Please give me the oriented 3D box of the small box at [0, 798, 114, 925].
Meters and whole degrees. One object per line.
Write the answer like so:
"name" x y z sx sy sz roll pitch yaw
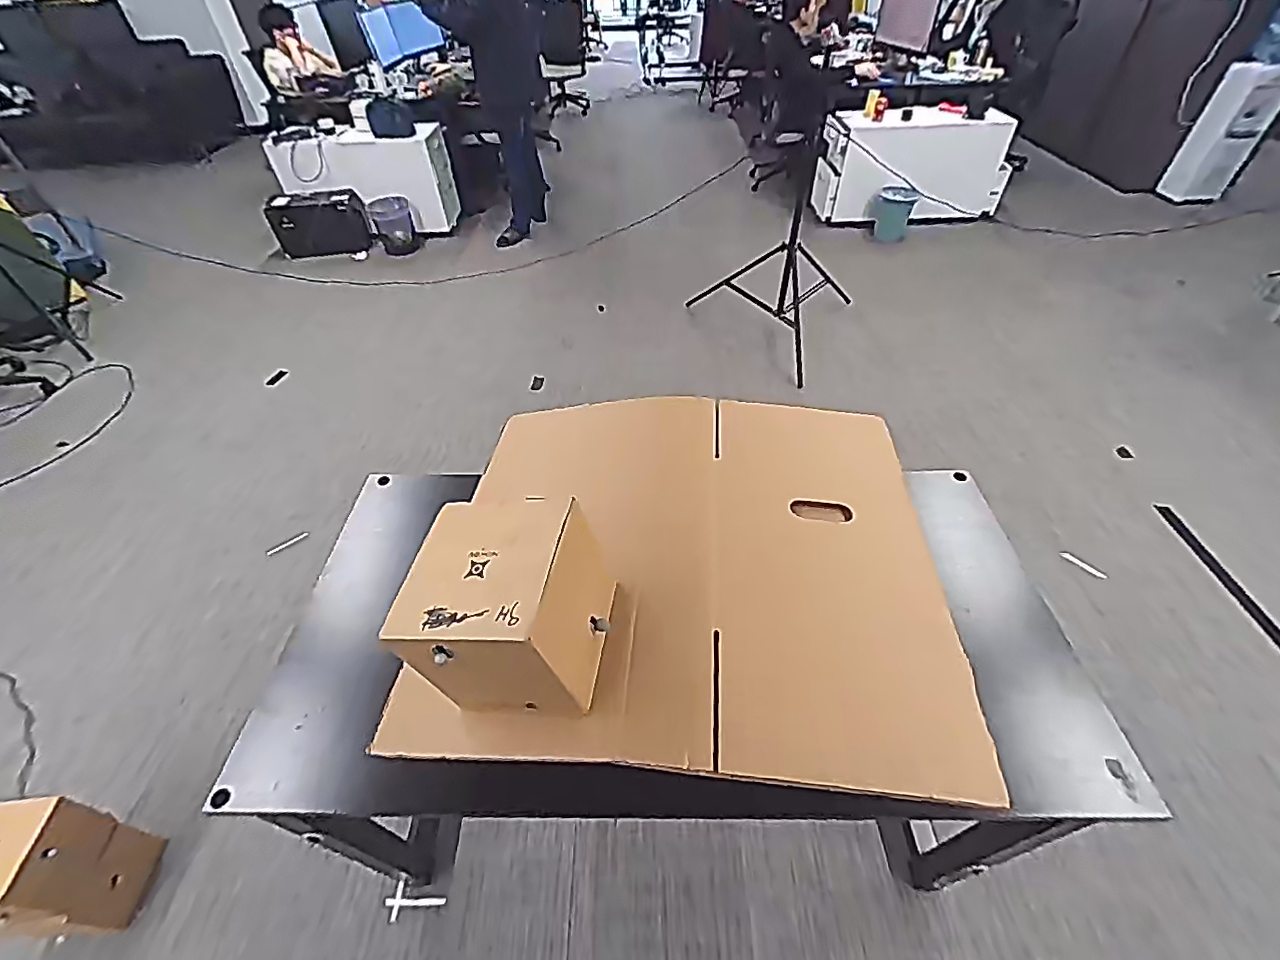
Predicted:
"small box" -1.215 0.757 1.068 0.168 0.176 0.179 -5 44 -5

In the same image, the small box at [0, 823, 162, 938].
"small box" -1.209 0.875 1.180 0.168 0.176 0.179 -4 46 -2

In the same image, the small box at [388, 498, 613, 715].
"small box" -0.139 0.143 0.617 0.168 0.176 0.179 -5 44 17
